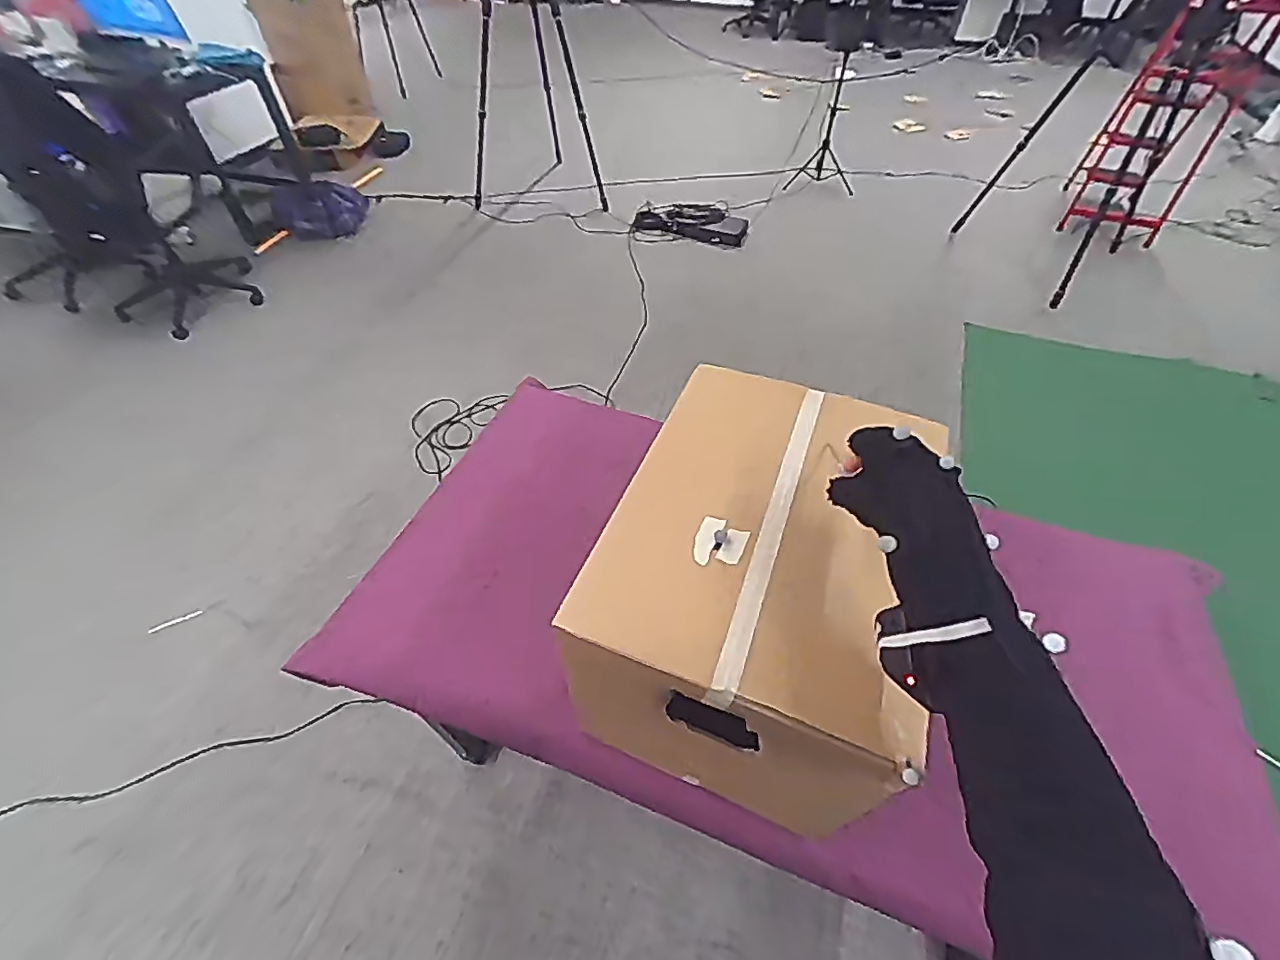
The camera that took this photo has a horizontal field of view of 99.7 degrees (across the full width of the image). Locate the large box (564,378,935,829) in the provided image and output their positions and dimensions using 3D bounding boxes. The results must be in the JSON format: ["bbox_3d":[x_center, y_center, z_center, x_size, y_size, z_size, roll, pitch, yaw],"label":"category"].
[{"bbox_3d":[0.140,0.141,0.687,0.320,0.320,0.408,18,52,15],"label":"large box"}]
